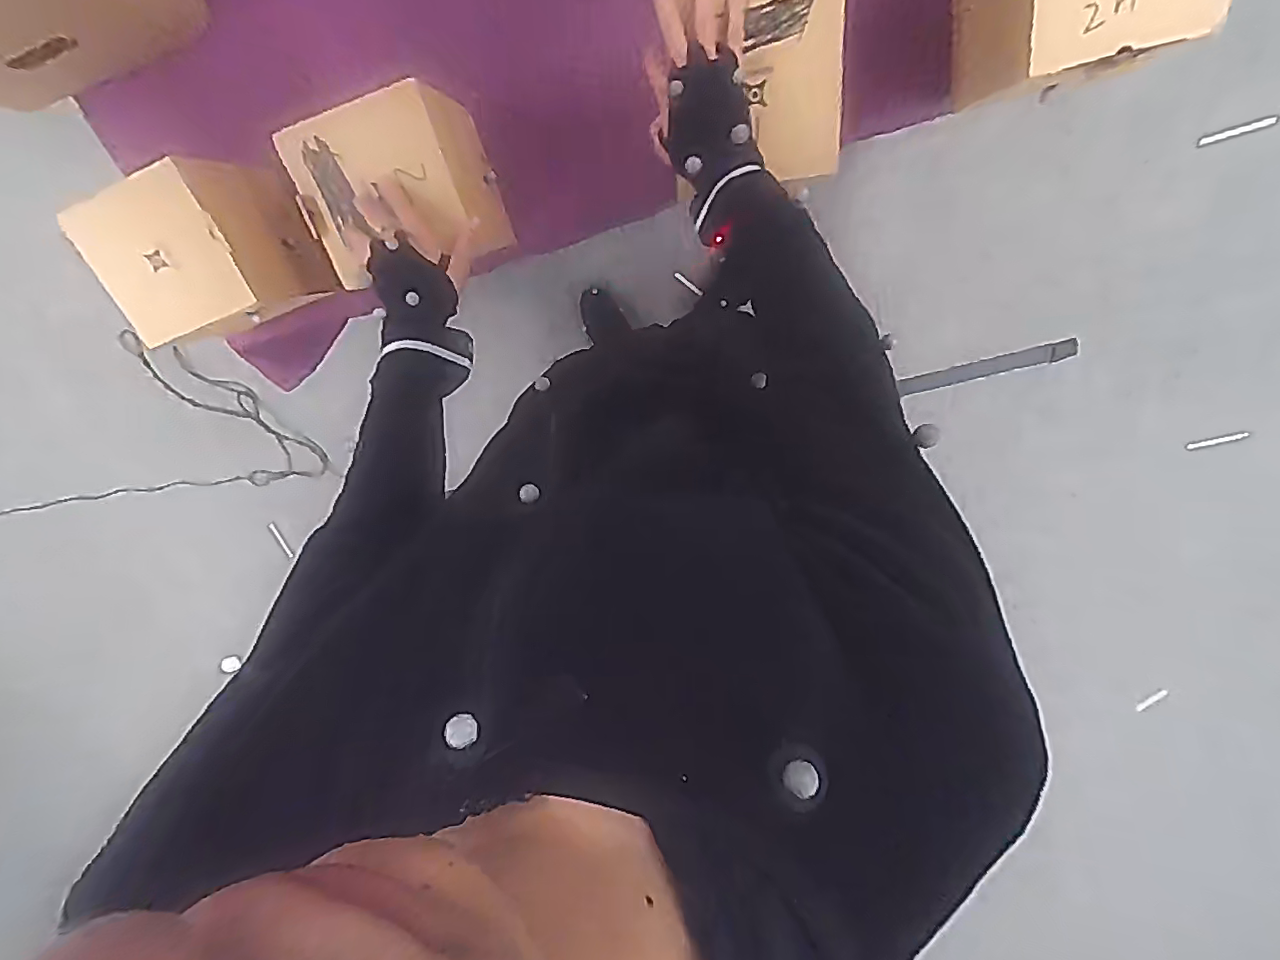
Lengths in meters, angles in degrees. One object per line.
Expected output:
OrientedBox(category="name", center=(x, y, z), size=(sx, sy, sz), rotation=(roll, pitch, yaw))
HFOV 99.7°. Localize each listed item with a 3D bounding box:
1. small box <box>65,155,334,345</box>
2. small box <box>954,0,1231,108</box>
OrientedBox(category="small box", center=(-0.554, -0.295, 0.709), size=(0.179, 0.176, 0.168), rotation=(-17, 112, 10))
OrientedBox(category="small box", center=(0.435, -0.504, 0.536), size=(0.168, 0.176, 0.179), rotation=(-9, 114, 9))
